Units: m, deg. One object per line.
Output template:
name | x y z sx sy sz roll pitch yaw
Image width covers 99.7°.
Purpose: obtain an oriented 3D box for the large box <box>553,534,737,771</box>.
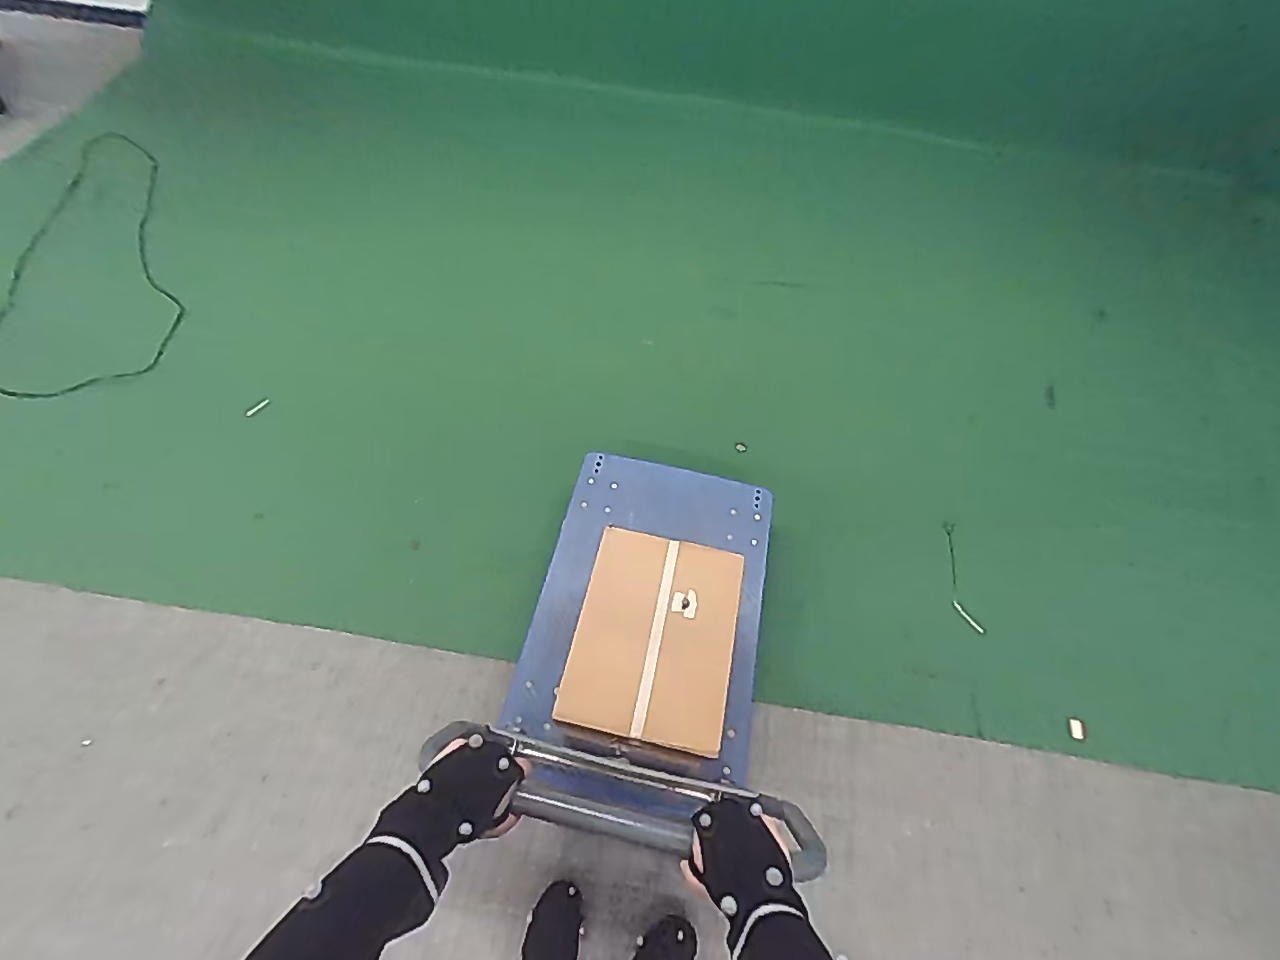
large box | 0.017 0.390 1.208 0.320 0.320 0.408 12 58 3
